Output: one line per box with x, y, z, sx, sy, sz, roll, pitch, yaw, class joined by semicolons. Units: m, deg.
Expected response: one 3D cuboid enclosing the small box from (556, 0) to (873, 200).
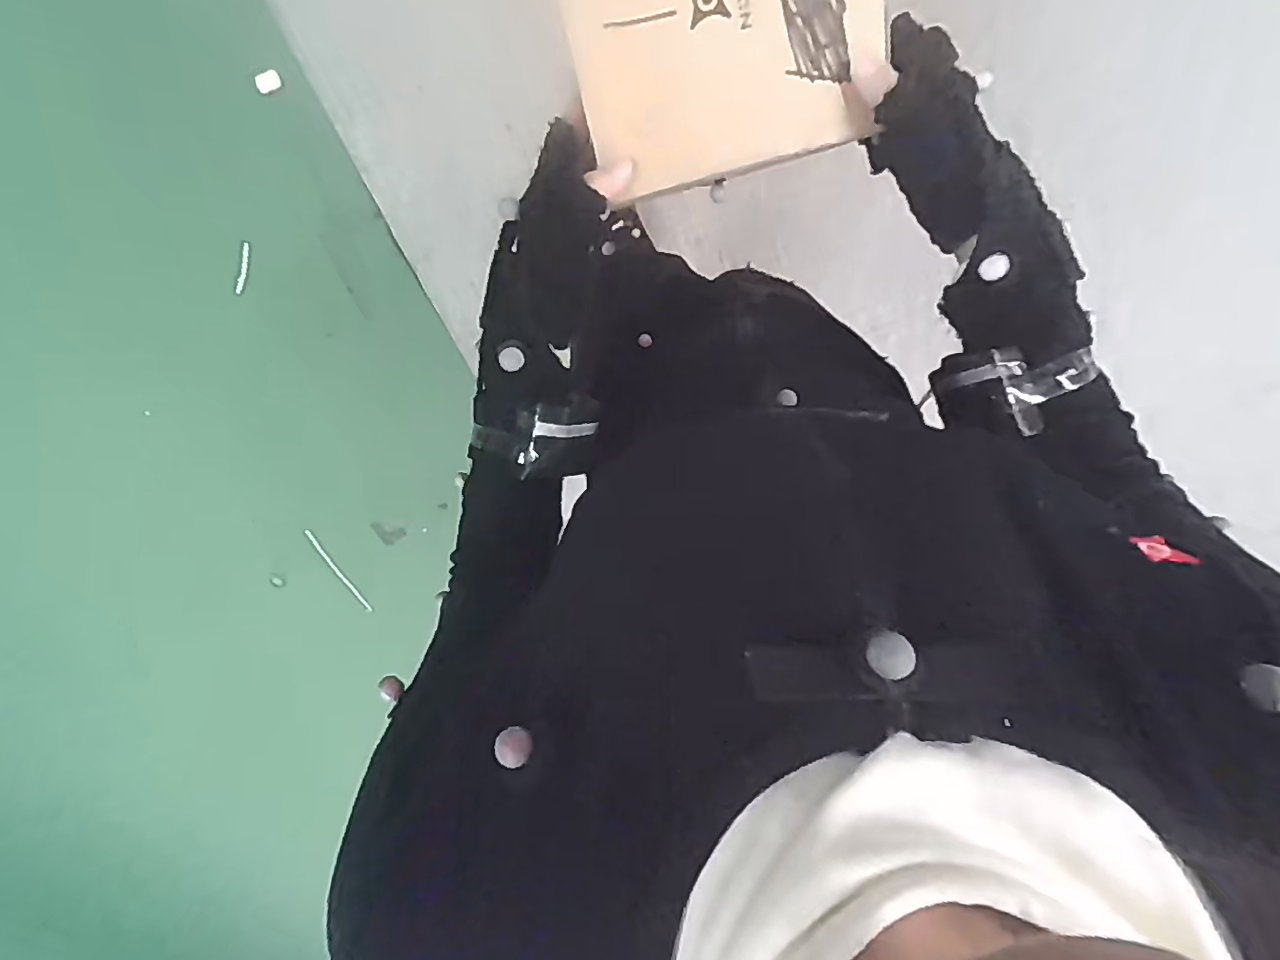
0.039;-0.305;0.375;0.179;0.176;0.168;-13;115;4;small box
